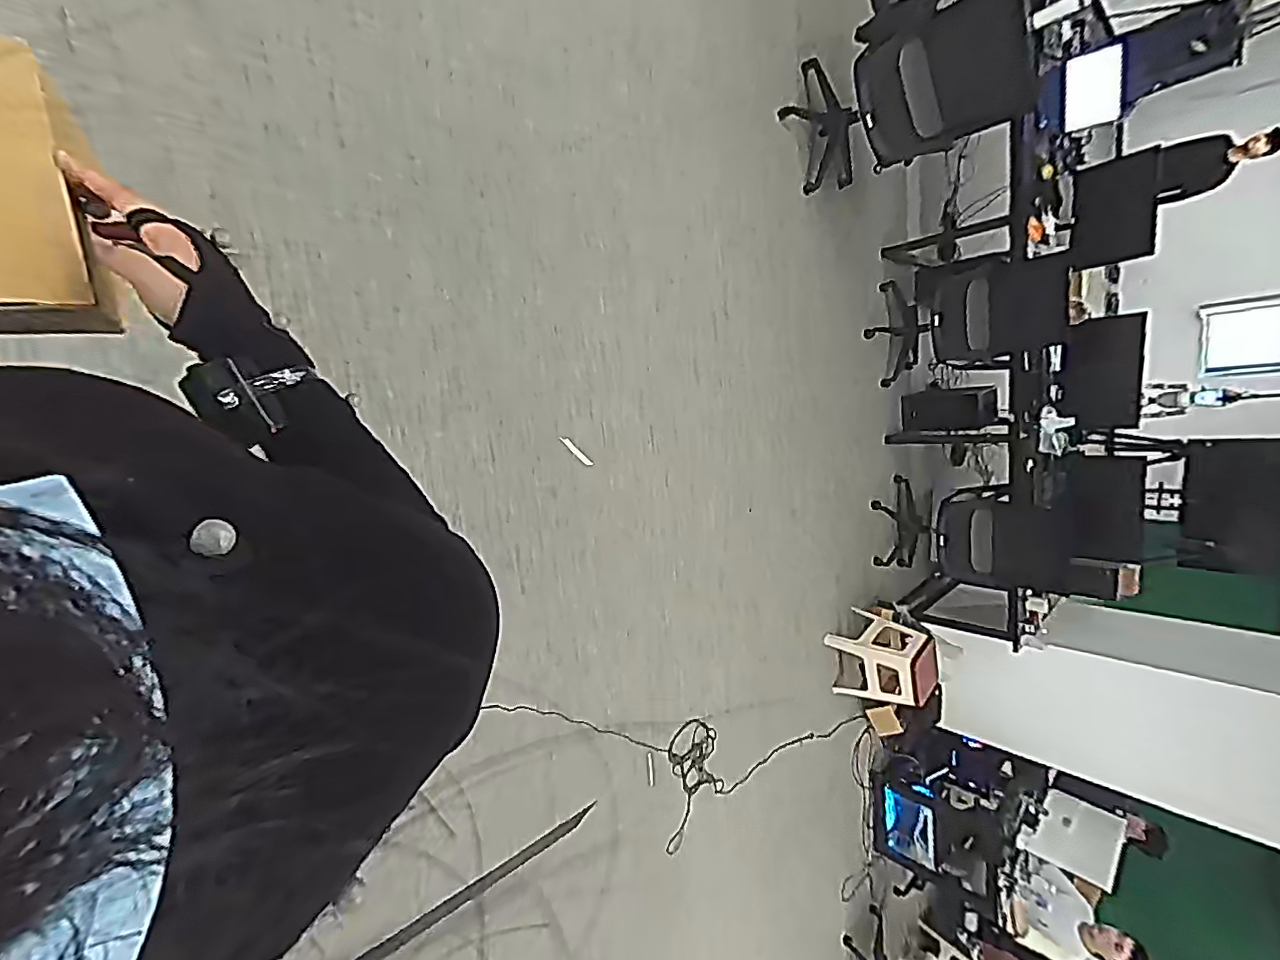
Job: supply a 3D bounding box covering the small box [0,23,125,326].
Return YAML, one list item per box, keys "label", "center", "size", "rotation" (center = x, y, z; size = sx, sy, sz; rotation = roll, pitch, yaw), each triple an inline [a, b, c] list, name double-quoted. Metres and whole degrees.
- label: "small box"
  center: [-0.510, -0.211, 0.391]
  size: [0.168, 0.176, 0.179]
  rotation: [-12, 105, -37]
